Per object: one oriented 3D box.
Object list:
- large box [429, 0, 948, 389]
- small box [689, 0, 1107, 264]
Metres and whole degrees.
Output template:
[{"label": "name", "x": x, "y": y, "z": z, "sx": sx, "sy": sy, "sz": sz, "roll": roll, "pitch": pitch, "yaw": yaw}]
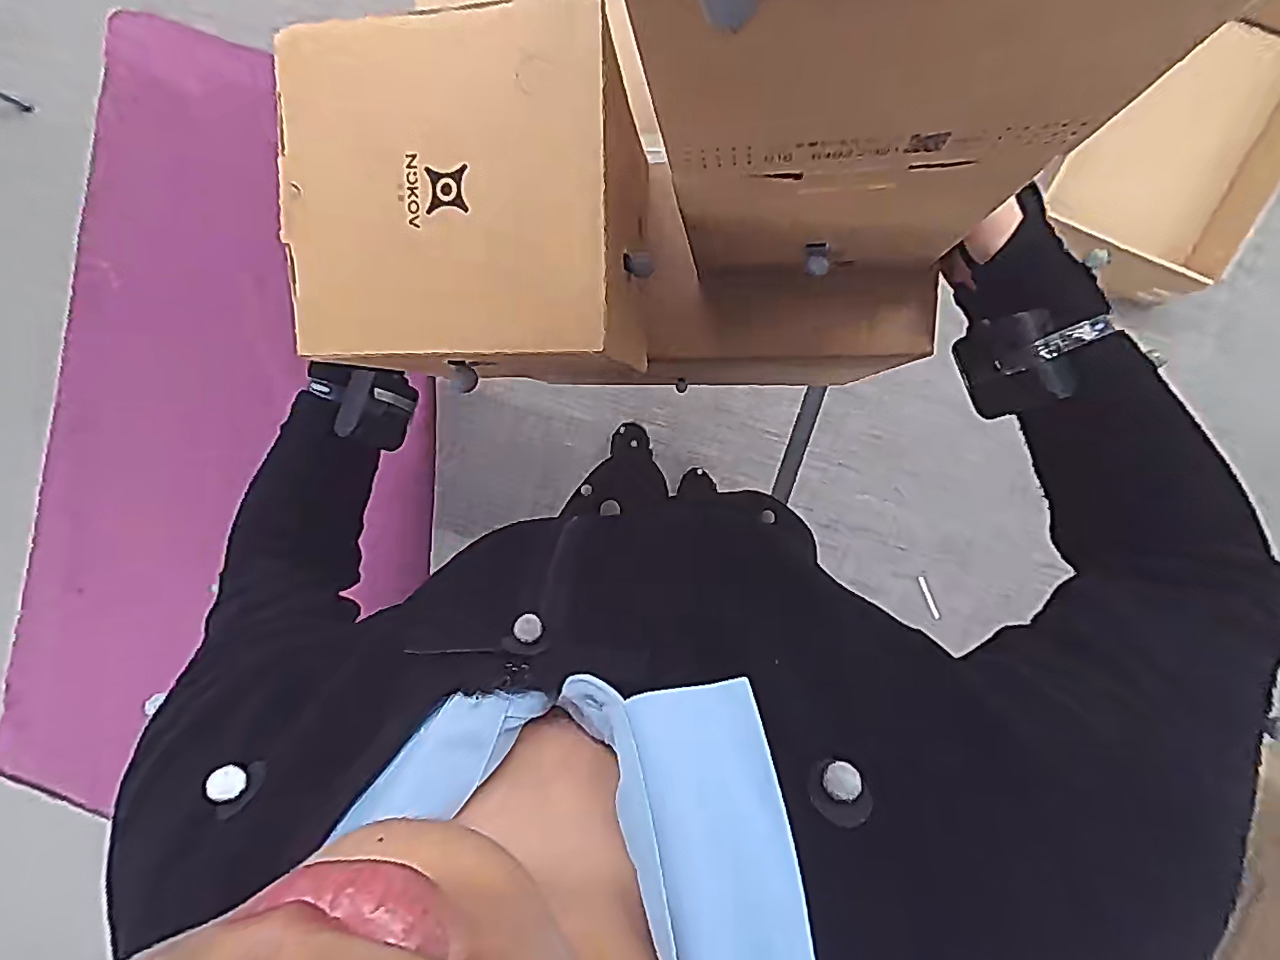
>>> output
[{"label": "large box", "x": 0.052, "y": -0.263, "z": 0.561, "sx": 0.408, "sy": 0.320, "sz": 0.320, "roll": 1, "pitch": 94, "yaw": 10}, {"label": "small box", "x": 0.119, "y": -0.236, "z": 0.303, "sx": 0.168, "sy": 0.176, "sz": 0.179, "roll": 3, "pitch": 96, "yaw": 10}]
